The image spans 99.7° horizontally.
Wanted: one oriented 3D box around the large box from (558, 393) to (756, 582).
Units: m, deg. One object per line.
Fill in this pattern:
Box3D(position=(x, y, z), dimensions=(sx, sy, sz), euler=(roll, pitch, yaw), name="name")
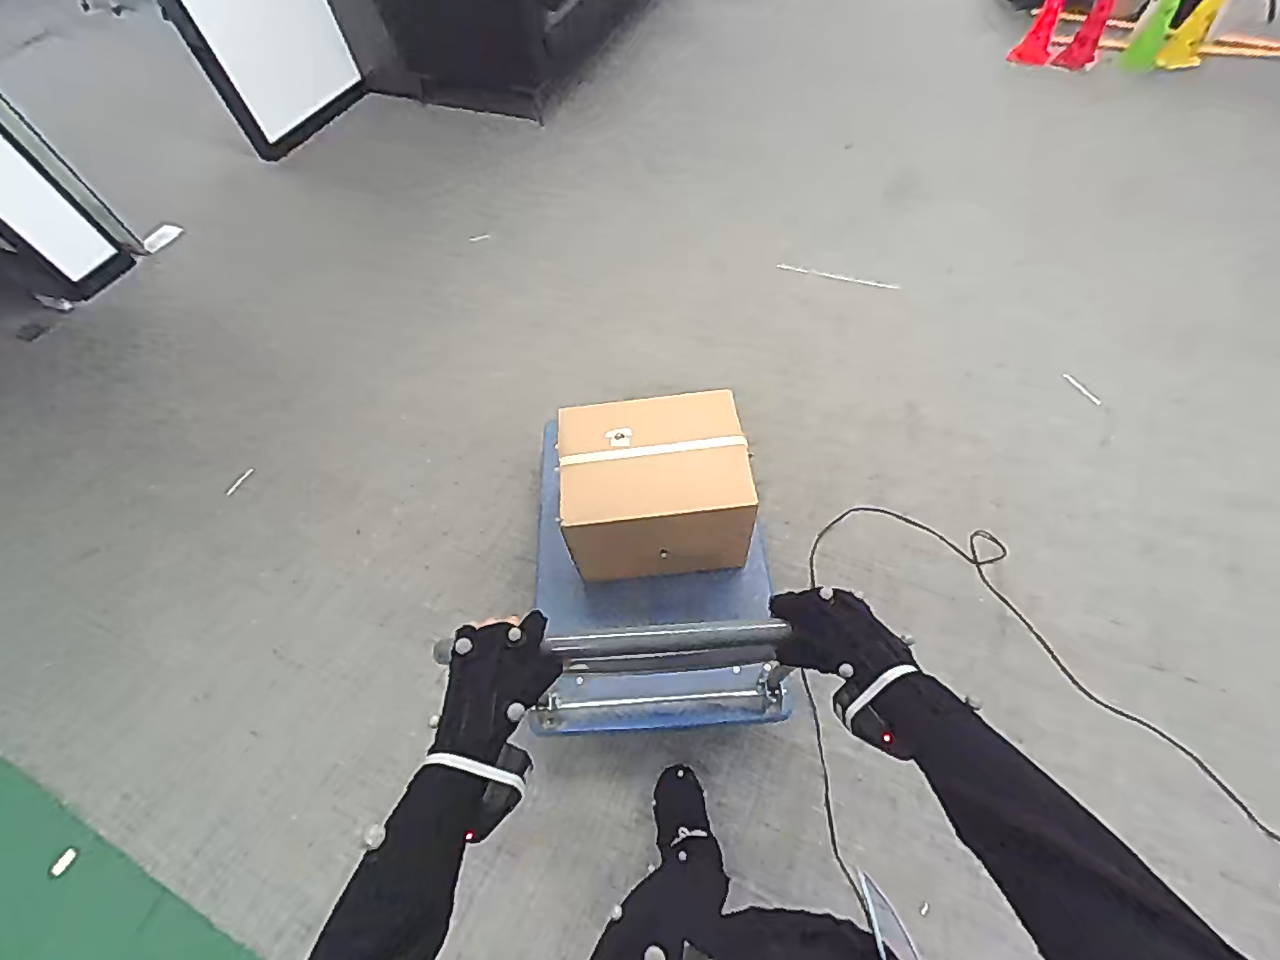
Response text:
Box3D(position=(0.035, 0.029, 1.296), dimensions=(0.408, 0.320, 0.320), euler=(-7, 57, 1), name="large box")
